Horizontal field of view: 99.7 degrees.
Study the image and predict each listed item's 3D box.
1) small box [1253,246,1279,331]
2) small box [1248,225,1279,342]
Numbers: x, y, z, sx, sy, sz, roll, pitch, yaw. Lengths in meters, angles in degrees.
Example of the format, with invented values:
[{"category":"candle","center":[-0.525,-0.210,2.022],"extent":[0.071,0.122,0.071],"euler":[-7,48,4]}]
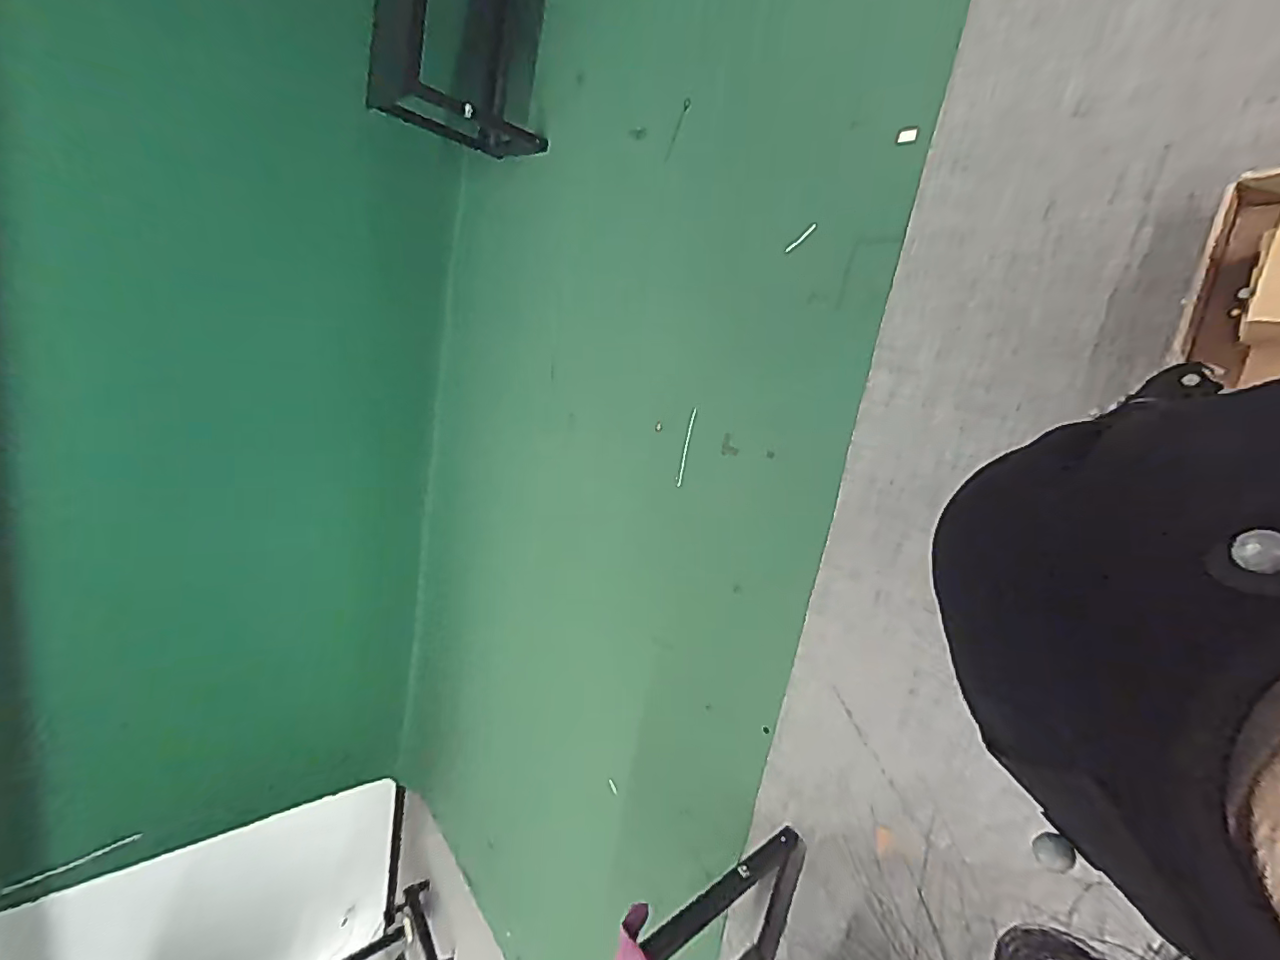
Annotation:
[{"category":"small box","center":[1.014,-0.302,0.759],"extent":[0.168,0.176,0.179],"euler":[21,107,45]},{"category":"small box","center":[1.132,-0.317,0.874],"extent":[0.179,0.176,0.168],"euler":[15,103,45]}]
